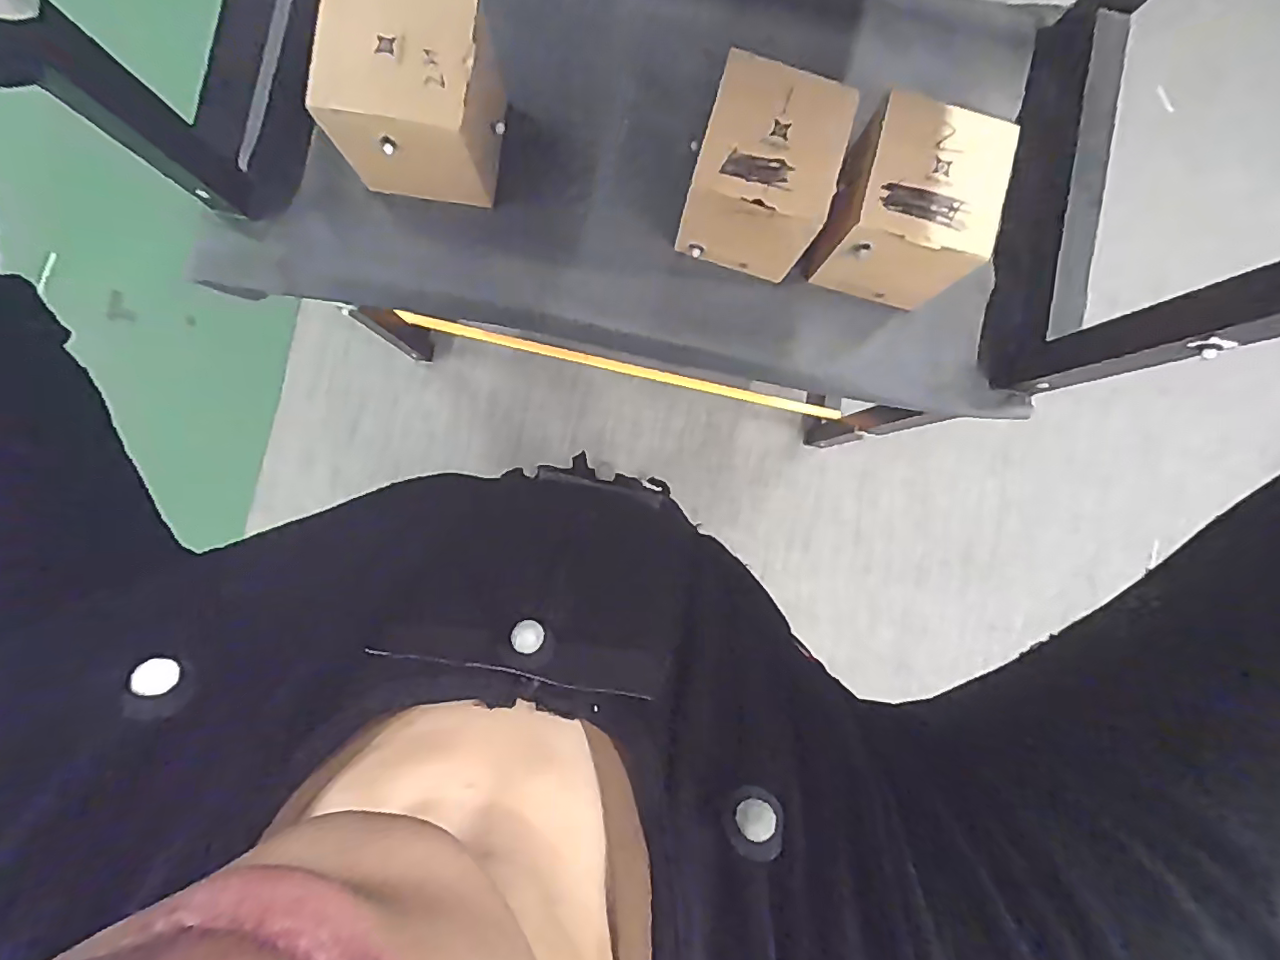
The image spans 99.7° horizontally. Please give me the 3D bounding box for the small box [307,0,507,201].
[{"bbox_3d":[-0.281,-0.485,0.689,0.179,0.176,0.168,7,88,-4],"label":"small box"}]
